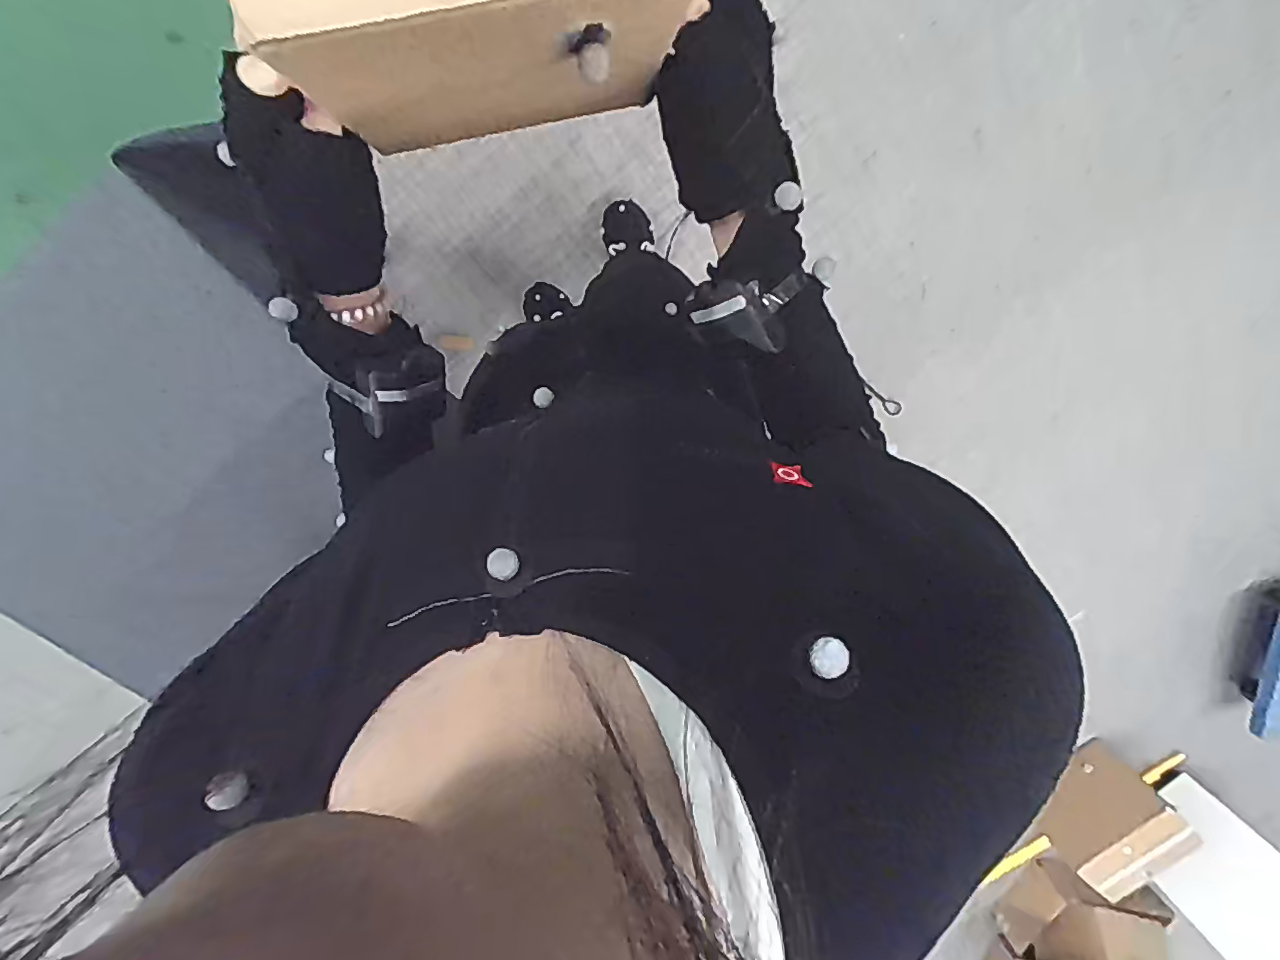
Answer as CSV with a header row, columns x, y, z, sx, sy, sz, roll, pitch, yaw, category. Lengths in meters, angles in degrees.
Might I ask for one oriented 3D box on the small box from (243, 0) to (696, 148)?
x,y,z,sx,sy,sz,roll,pitch,yaw,category
-0.084,-0.279,0.254,0.179,0.176,0.168,-13,111,-4,small box
